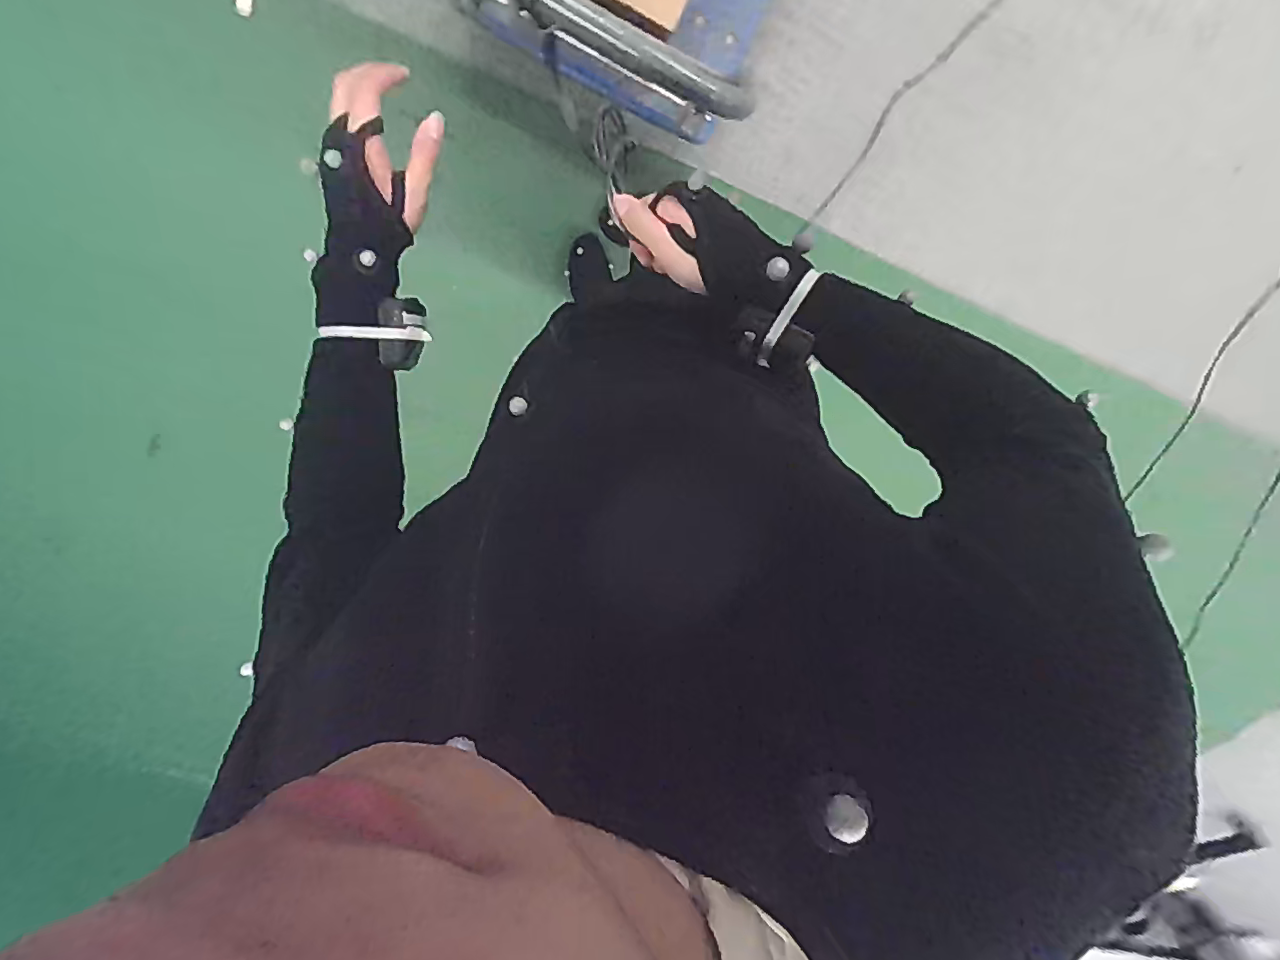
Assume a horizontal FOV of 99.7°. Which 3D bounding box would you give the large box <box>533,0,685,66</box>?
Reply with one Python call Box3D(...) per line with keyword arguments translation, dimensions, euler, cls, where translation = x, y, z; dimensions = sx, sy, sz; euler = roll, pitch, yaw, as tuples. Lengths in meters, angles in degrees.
Box3D(translation=(-0.020, -0.974, 0.849), dimensions=(0.320, 0.320, 0.408), euler=(21, 116, -14), cls="large box")
